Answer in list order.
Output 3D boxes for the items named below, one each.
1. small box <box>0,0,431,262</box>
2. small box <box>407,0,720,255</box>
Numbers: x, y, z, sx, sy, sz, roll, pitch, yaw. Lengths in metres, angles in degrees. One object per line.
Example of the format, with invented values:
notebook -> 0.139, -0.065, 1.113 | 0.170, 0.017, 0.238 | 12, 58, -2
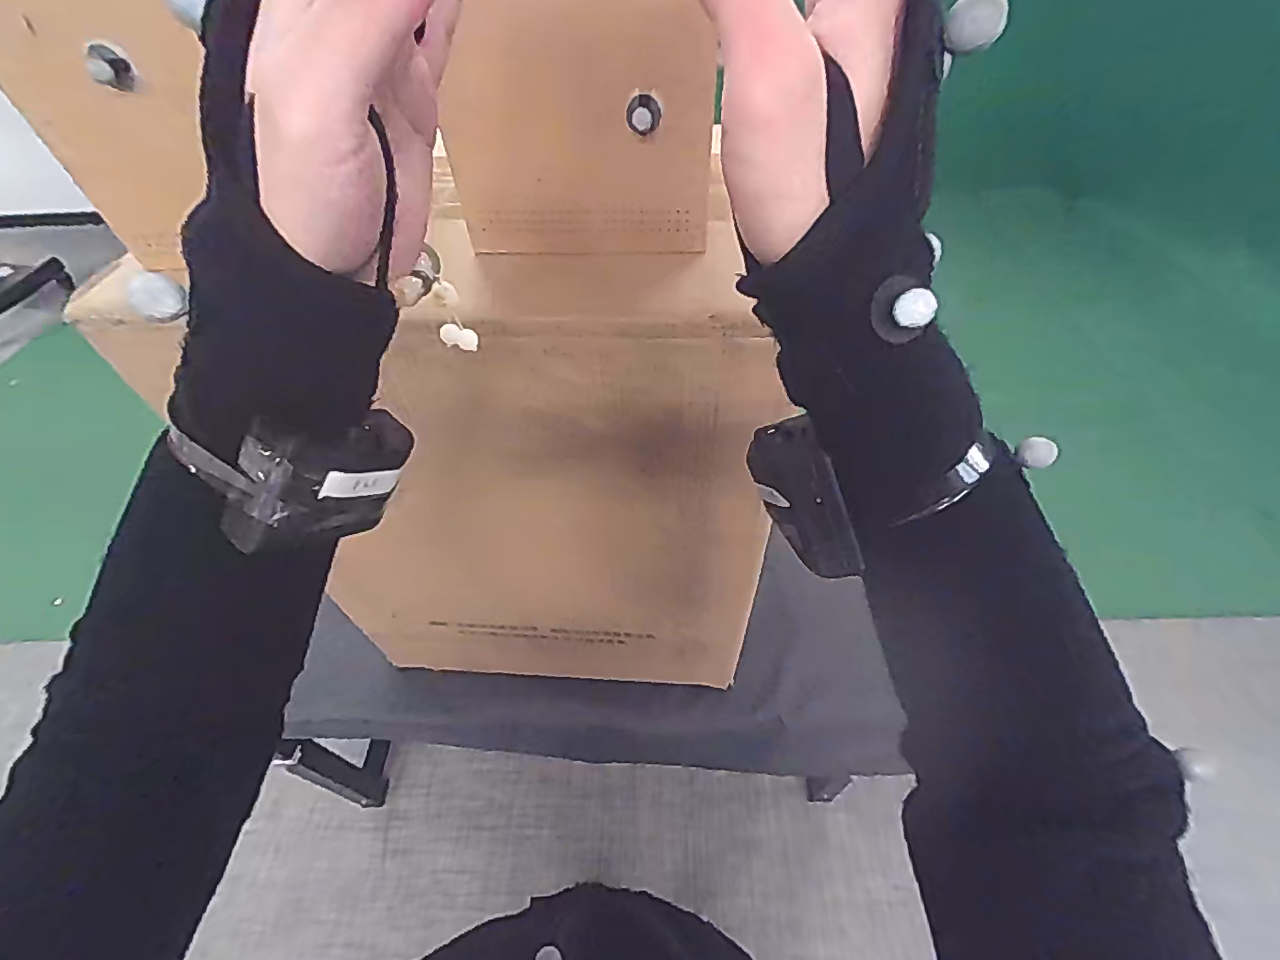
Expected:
small box -> -0.290, -0.281, 0.405 | 0.179, 0.176, 0.168 | 0, 53, 6
small box -> -0.037, -0.282, 0.396 | 0.179, 0.176, 0.168 | 0, 50, 4
